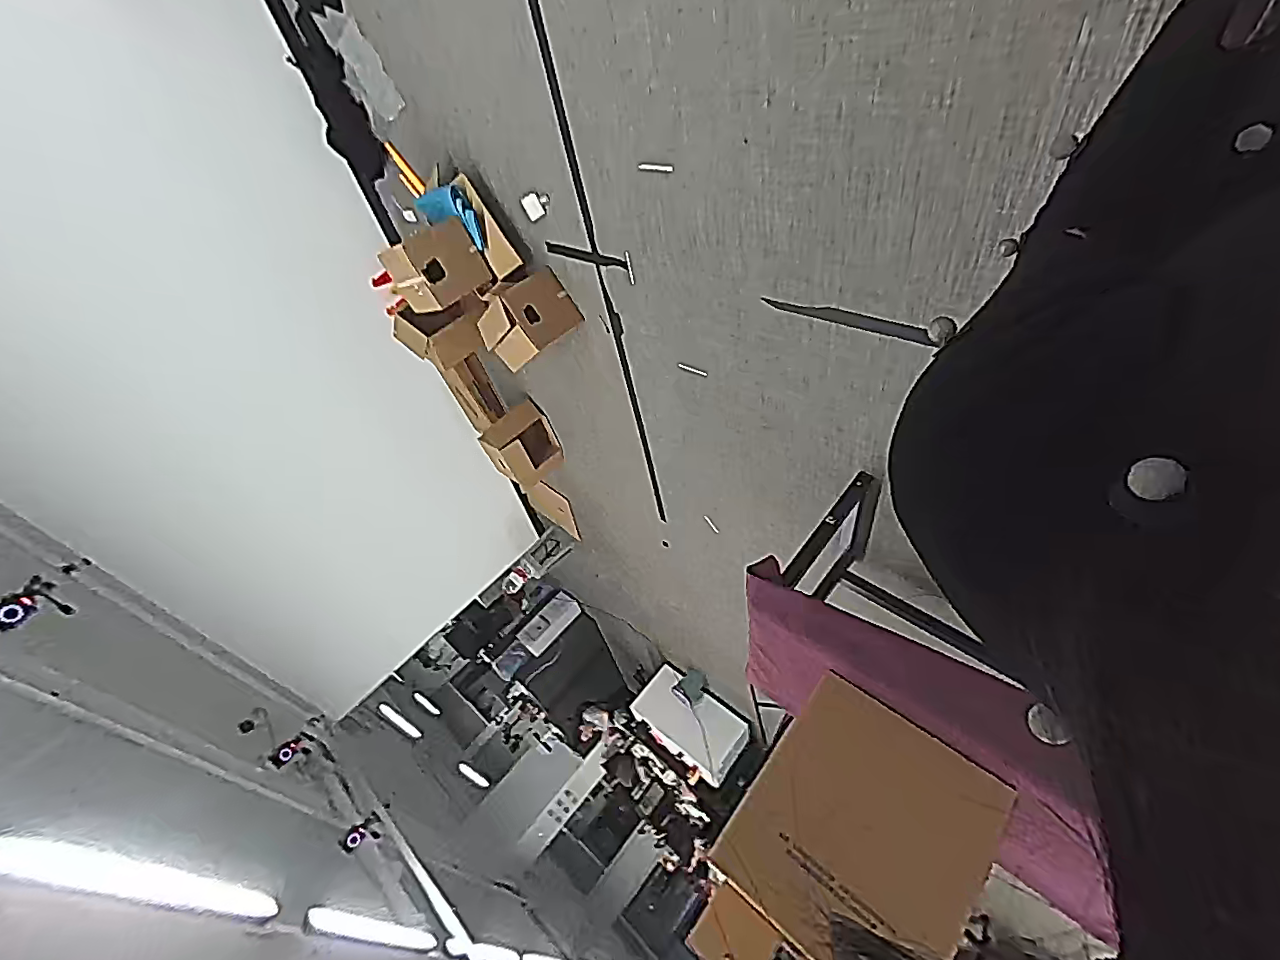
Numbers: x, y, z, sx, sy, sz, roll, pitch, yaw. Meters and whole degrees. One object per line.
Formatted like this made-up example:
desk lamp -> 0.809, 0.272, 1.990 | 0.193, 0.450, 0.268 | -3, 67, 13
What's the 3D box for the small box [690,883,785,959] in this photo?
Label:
small box -> 0.254, 1.178, 1.374 | 0.179, 0.176, 0.168 | 27, 148, 35
